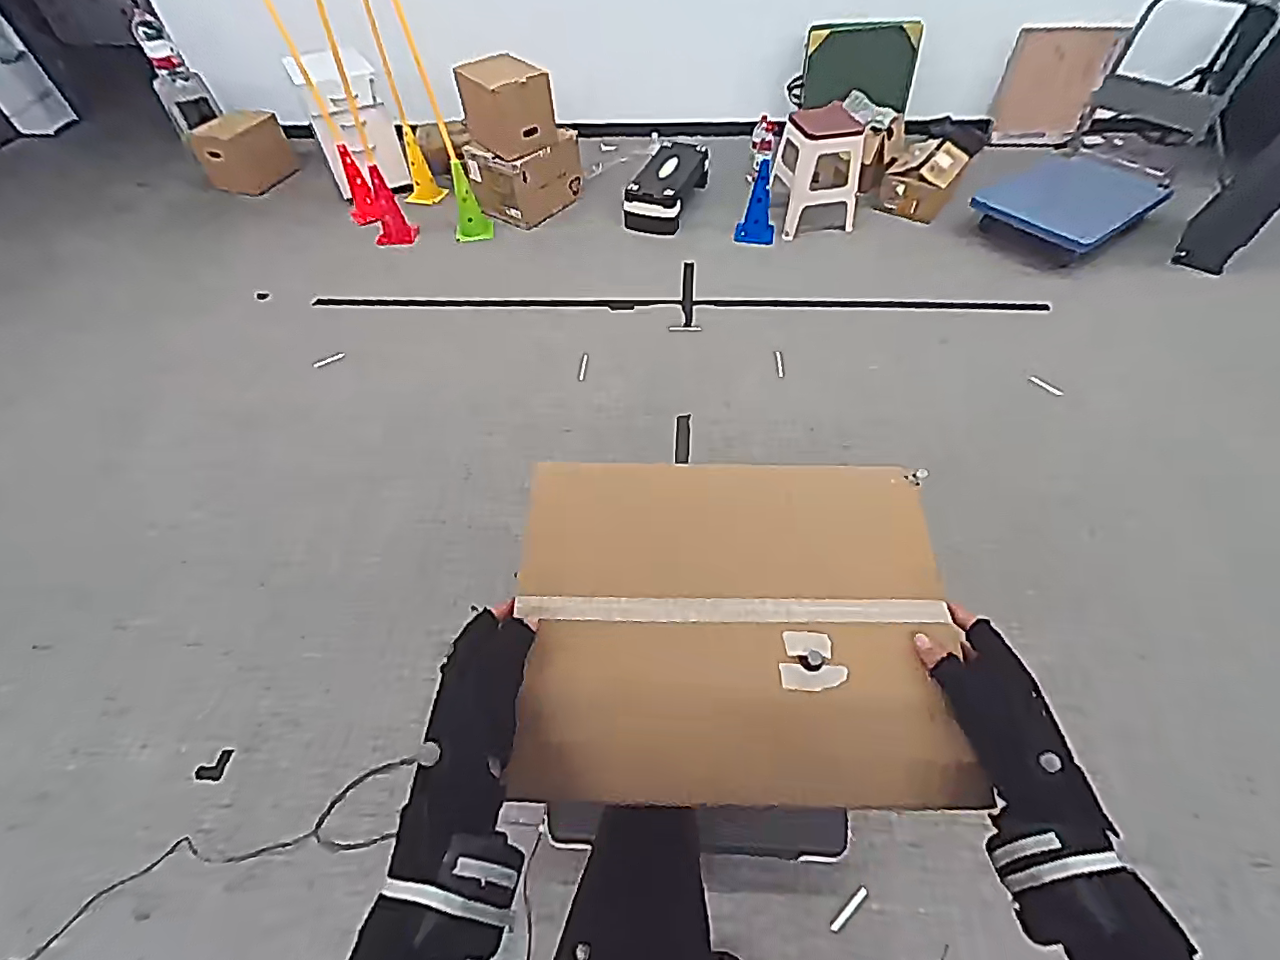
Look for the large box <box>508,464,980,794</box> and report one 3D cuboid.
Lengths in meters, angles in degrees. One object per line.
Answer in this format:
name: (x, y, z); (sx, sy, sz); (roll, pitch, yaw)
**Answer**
large box: (0.084, 0.188, 0.648); (0.408, 0.320, 0.320); (1, 63, 0)
